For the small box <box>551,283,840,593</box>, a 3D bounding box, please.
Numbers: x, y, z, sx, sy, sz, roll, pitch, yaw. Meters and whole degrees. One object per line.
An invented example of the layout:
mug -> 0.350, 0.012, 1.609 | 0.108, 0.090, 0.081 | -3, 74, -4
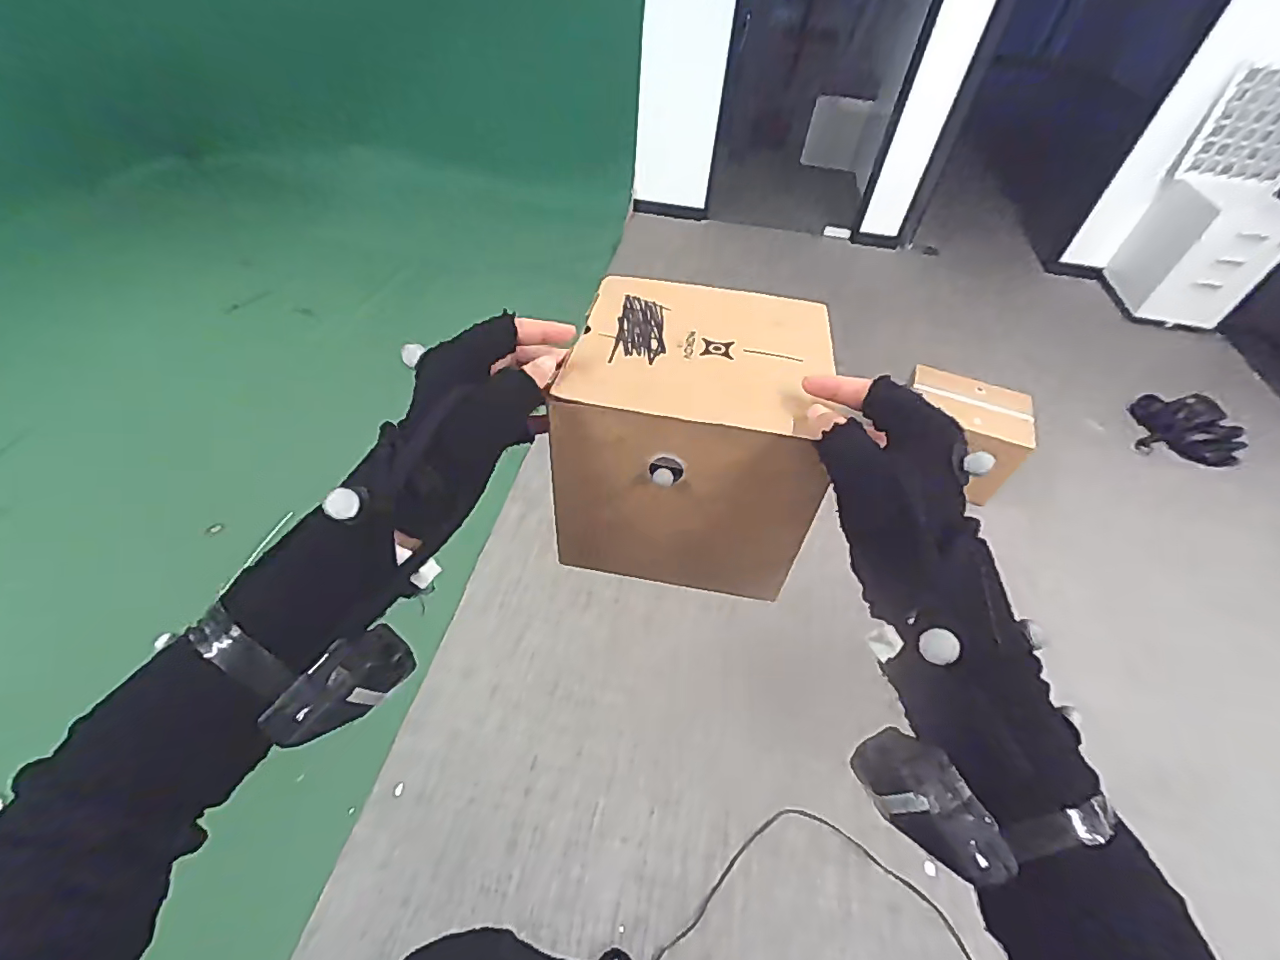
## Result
small box -> 0.039, -0.031, 0.428 | 0.179, 0.176, 0.168 | 10, 46, 4
